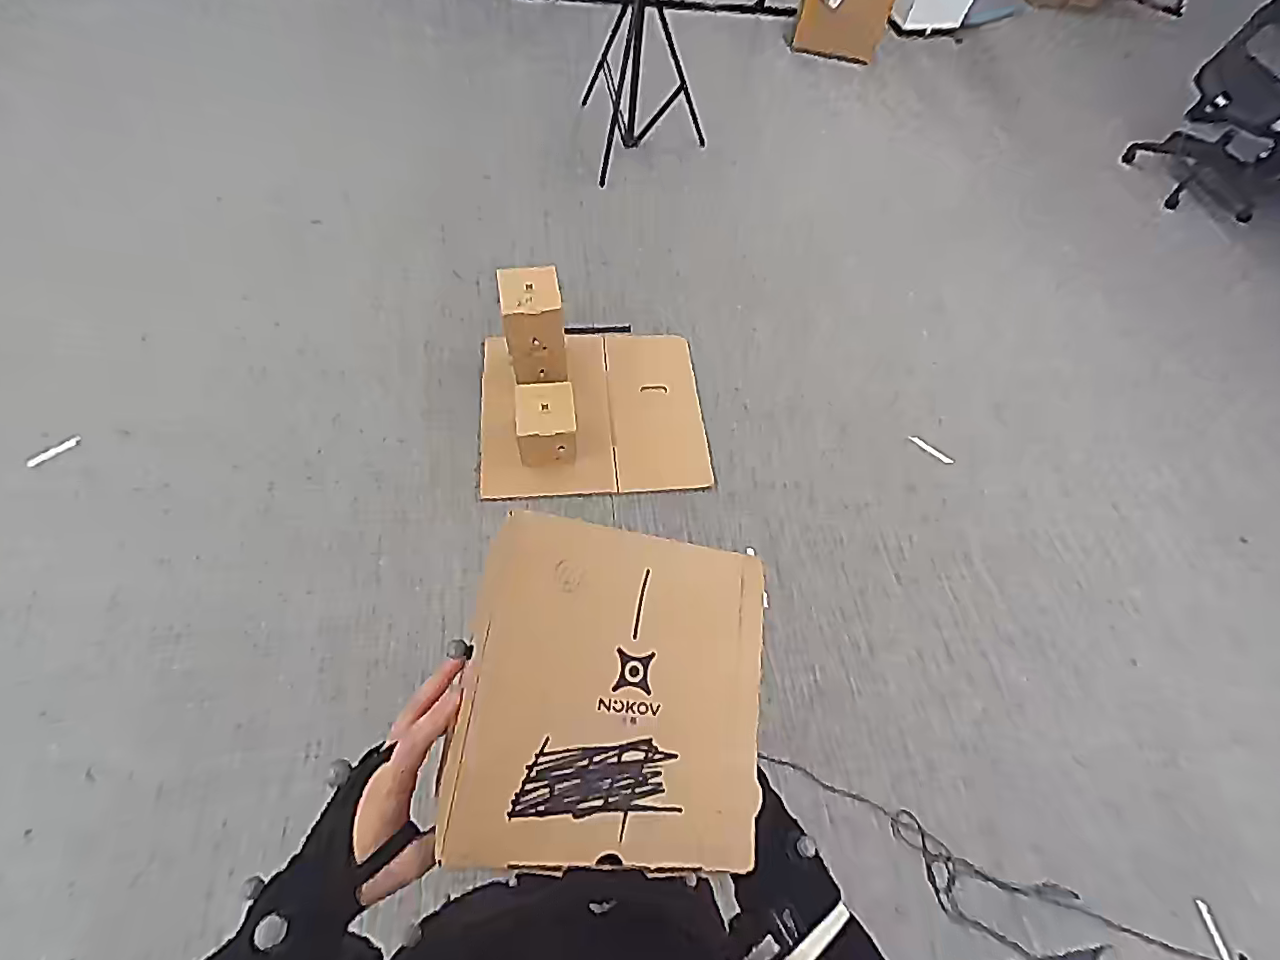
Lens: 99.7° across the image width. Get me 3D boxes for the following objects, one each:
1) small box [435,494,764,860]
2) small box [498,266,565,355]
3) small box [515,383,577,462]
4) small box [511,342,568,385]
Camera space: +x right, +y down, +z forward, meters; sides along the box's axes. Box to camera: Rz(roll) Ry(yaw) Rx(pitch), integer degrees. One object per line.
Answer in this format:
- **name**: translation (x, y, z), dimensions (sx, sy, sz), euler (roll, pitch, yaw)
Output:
- **small box**: translation (-0.034, 0.128, 0.370), dimensions (0.168, 0.176, 0.179), euler (13, 69, -17)
- **small box**: translation (-0.312, -0.488, 1.564), dimensions (0.168, 0.176, 0.179), euler (-8, 63, -9)
- **small box**: translation (-0.273, -0.162, 1.582), dimensions (0.168, 0.176, 0.179), euler (-5, 62, -10)
- **small box**: translation (-0.323, -0.410, 1.708), dimensions (0.168, 0.176, 0.179), euler (-9, 64, -11)
